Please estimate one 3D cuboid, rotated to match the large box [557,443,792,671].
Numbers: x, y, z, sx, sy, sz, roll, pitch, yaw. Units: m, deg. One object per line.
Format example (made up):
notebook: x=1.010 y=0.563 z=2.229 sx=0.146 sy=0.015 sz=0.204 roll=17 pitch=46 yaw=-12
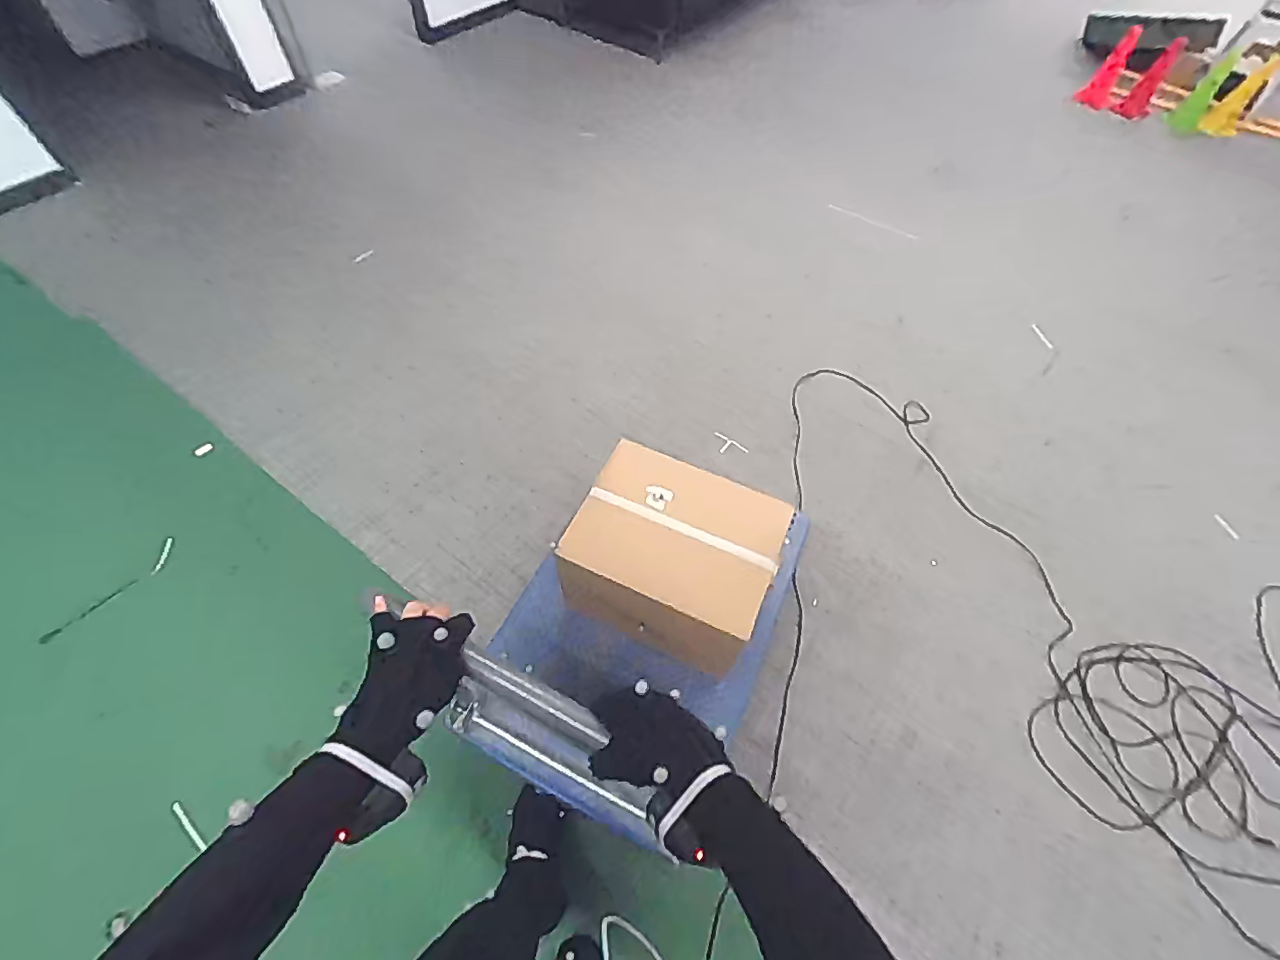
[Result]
large box: x=0.077 y=0.179 z=1.222 sx=0.408 sy=0.320 sz=0.320 roll=22 pitch=59 yaw=12
